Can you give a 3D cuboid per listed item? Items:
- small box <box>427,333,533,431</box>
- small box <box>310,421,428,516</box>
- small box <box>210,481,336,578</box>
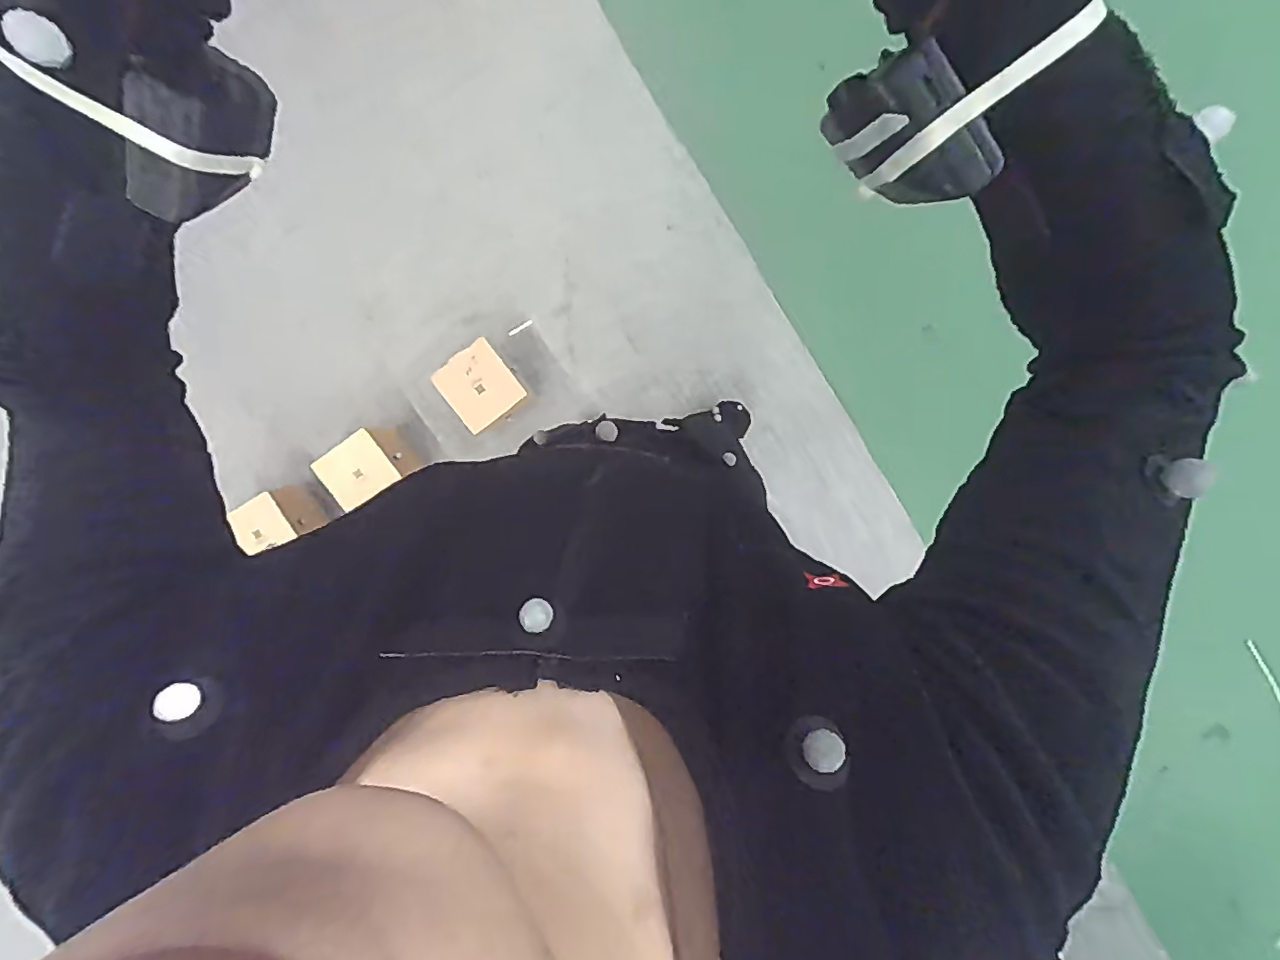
[{"bbox_3d":[-0.390,-0.244,1.359,0.168,0.176,0.179,-37,97,2],"label":"small box"},{"bbox_3d":[-0.681,-0.033,1.378,0.168,0.176,0.179,-35,97,3],"label":"small box"},{"bbox_3d":[-0.929,0.119,1.389,0.168,0.176,0.179,-30,96,2],"label":"small box"}]
